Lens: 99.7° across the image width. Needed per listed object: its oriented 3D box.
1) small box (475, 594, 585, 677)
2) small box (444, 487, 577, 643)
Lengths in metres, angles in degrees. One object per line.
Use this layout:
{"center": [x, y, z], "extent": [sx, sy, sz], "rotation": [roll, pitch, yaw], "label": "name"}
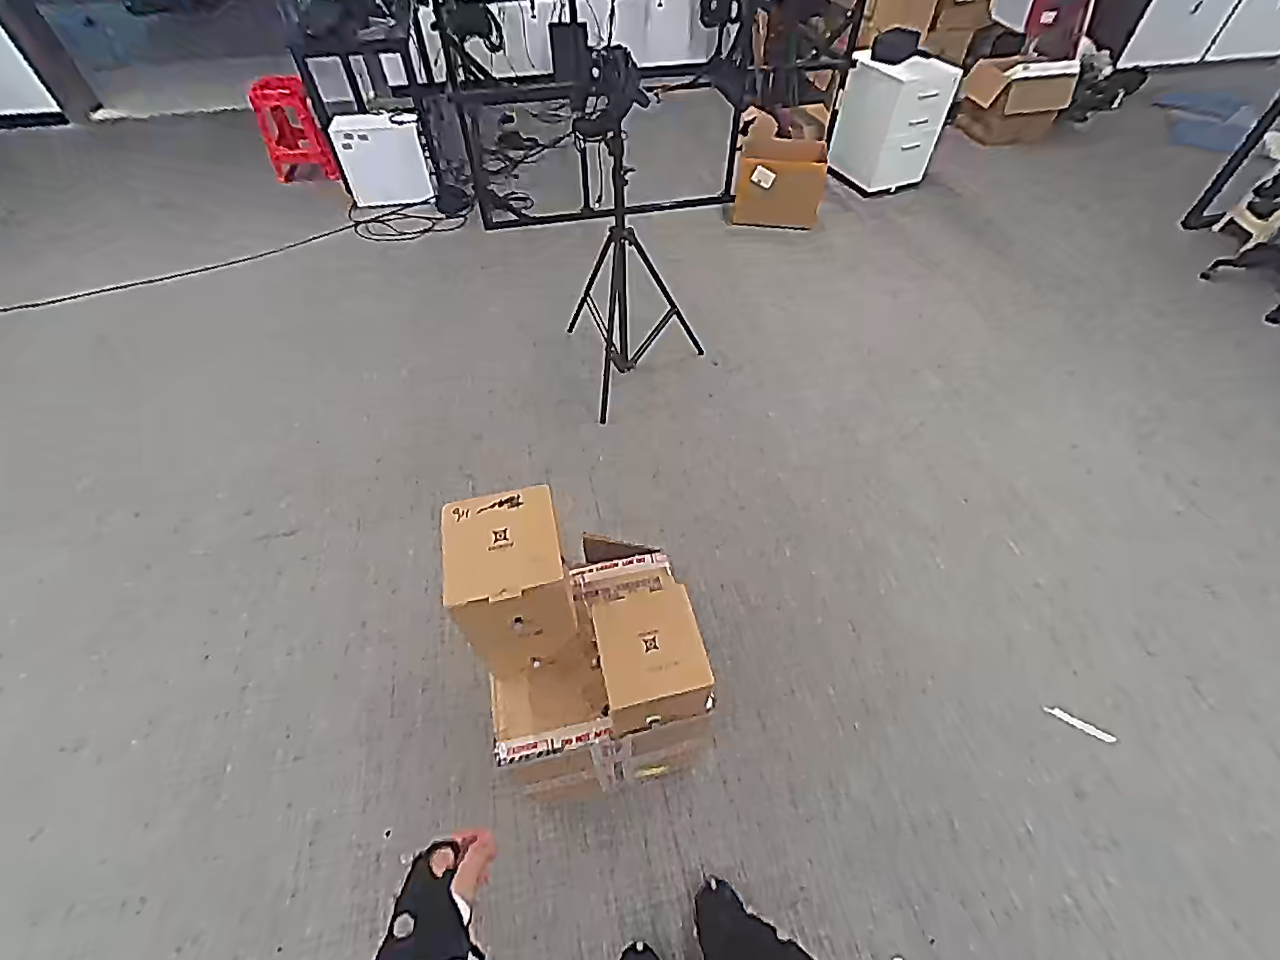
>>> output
{"center": [-0.202, 0.233, 0.985], "extent": [0.168, 0.176, 0.179], "rotation": [-13, 54, -7], "label": "small box"}
{"center": [-0.198, 0.141, 0.848], "extent": [0.168, 0.176, 0.179], "rotation": [-12, 55, -7], "label": "small box"}
